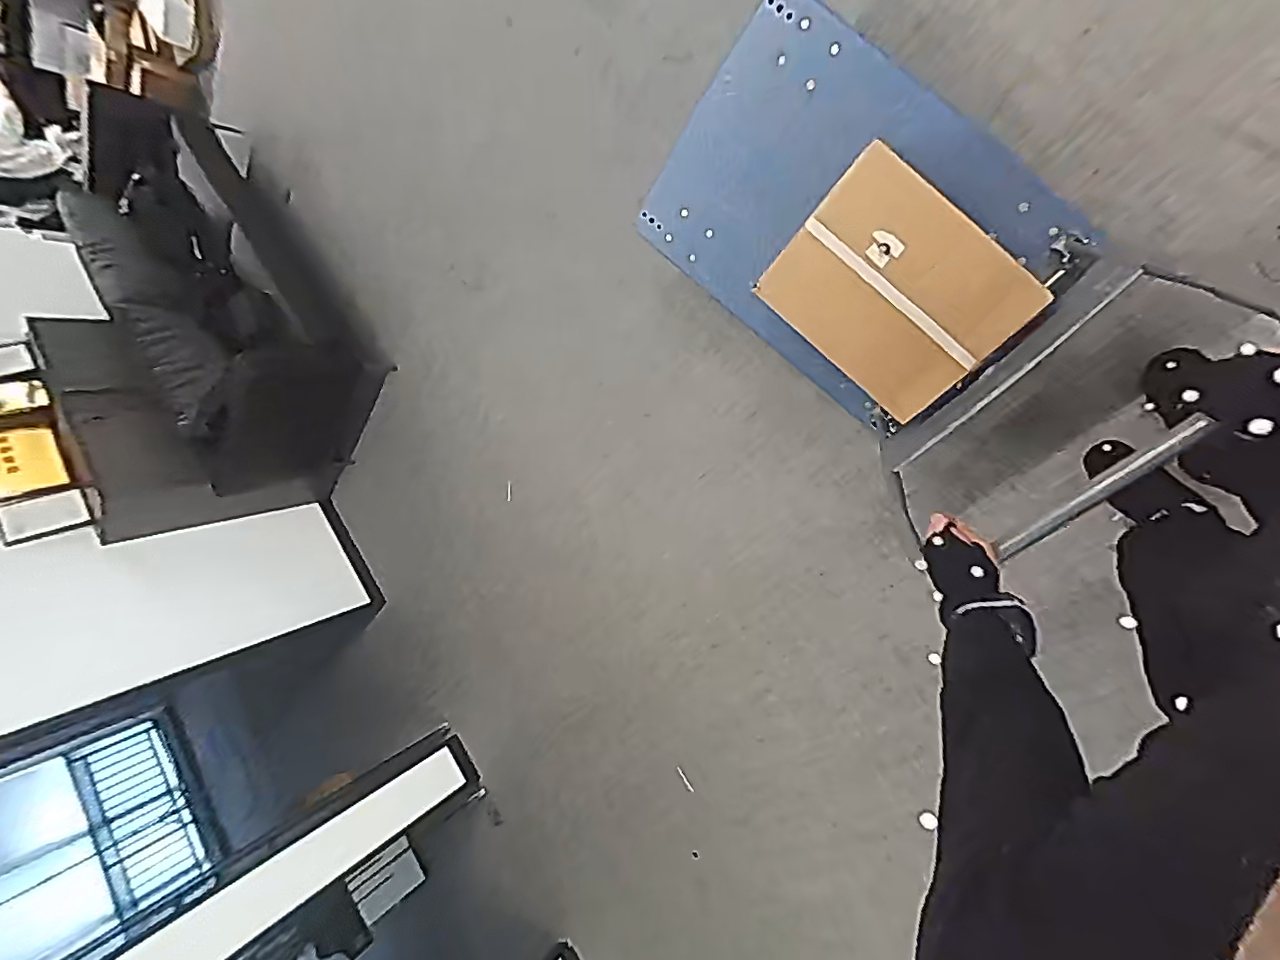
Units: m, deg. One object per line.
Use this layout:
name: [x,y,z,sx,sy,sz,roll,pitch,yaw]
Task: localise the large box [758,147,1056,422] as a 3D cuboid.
large box: [0.520,-0.394,1.104,0.408,0.320,0.320,42,123,1]
